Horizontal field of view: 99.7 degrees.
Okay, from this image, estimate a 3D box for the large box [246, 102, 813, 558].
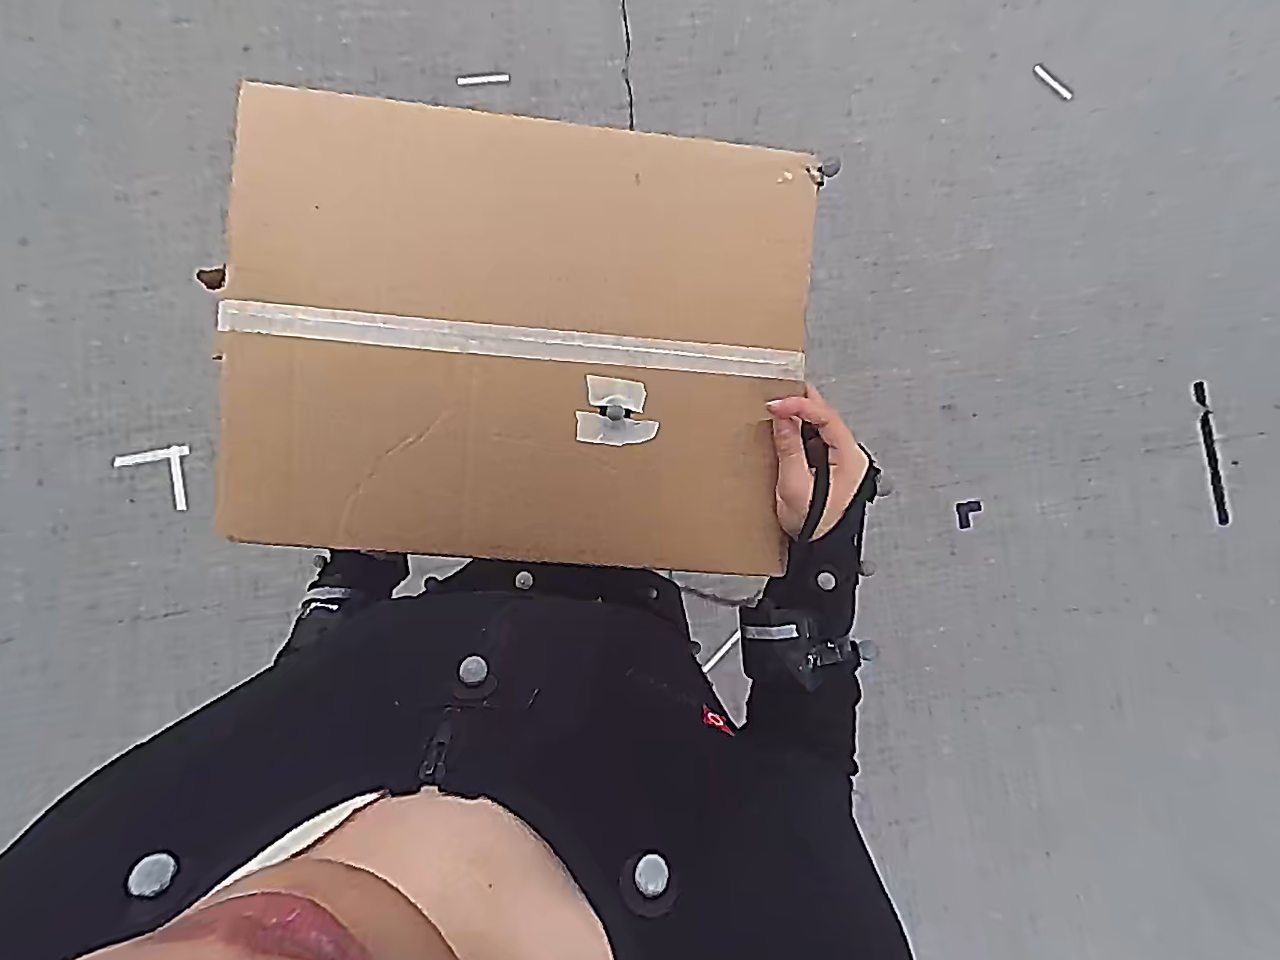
[{"bbox_3d":[-0.089,-0.106,0.543,0.408,0.320,0.320,4,93,-5],"label":"large box"}]
